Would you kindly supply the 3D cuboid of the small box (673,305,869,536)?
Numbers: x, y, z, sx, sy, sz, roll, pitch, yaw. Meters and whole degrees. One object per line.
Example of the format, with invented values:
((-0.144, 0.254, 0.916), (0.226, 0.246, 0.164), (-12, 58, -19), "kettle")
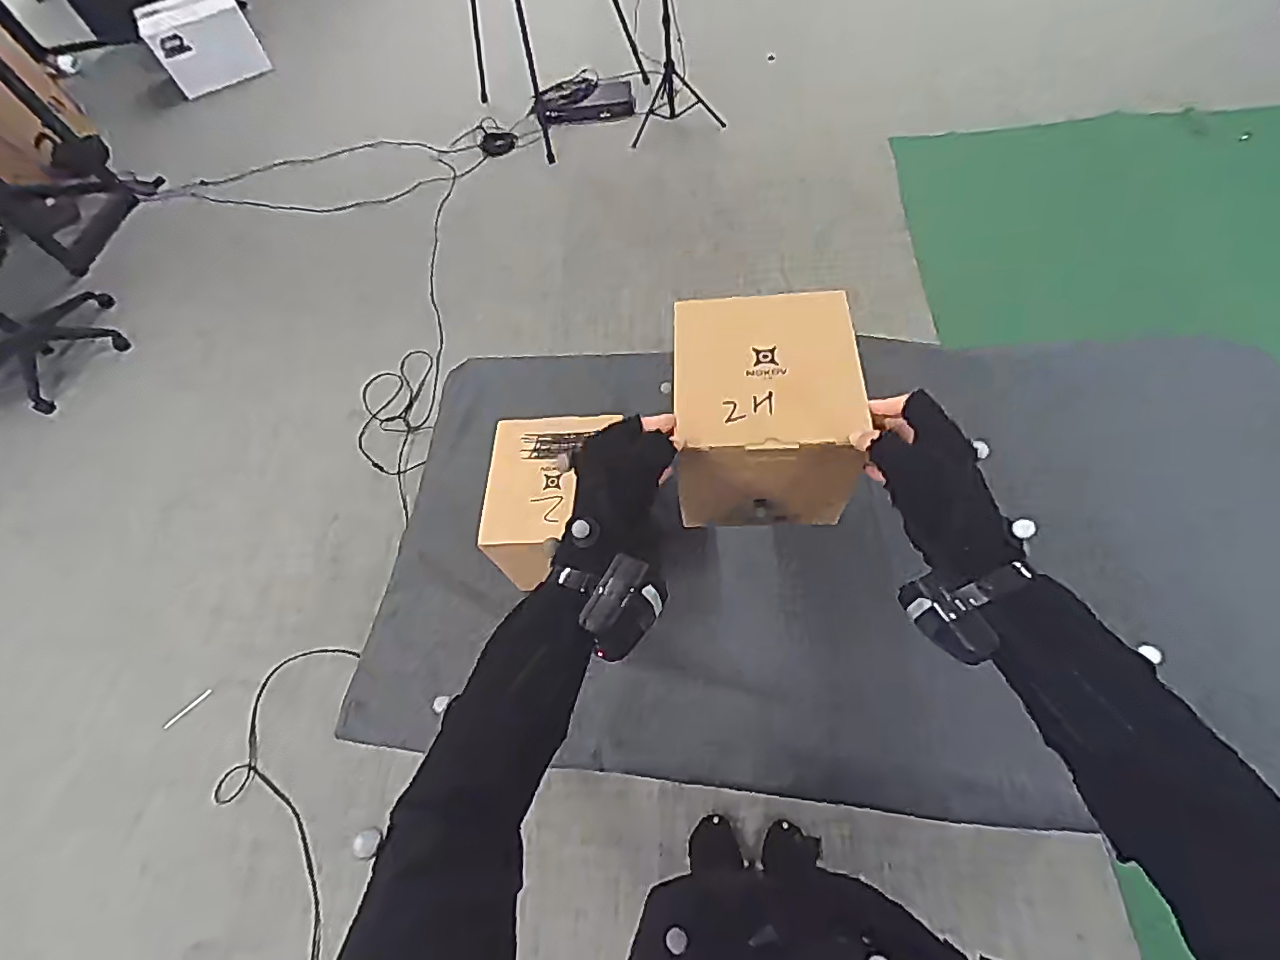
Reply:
((0.123, -0.055, 0.564), (0.168, 0.176, 0.179), (-2, 61, 8), "small box")
